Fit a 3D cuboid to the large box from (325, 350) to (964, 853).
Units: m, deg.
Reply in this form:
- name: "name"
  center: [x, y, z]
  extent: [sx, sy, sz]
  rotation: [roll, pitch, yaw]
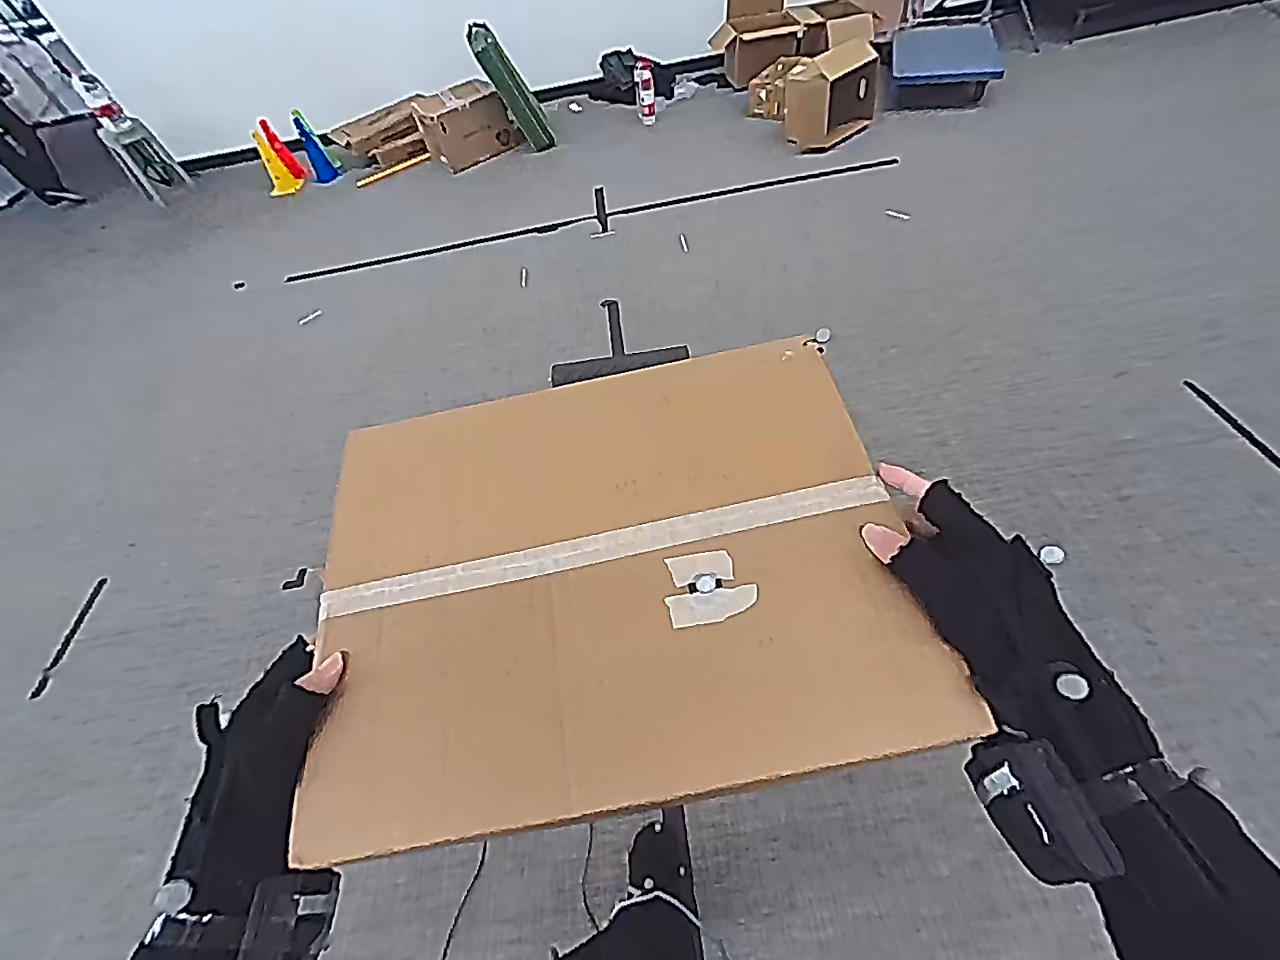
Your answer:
- name: "large box"
  center: [-0.007, 0.130, 0.526]
  extent: [0.408, 0.320, 0.320]
  rotation: [-12, 59, 1]
